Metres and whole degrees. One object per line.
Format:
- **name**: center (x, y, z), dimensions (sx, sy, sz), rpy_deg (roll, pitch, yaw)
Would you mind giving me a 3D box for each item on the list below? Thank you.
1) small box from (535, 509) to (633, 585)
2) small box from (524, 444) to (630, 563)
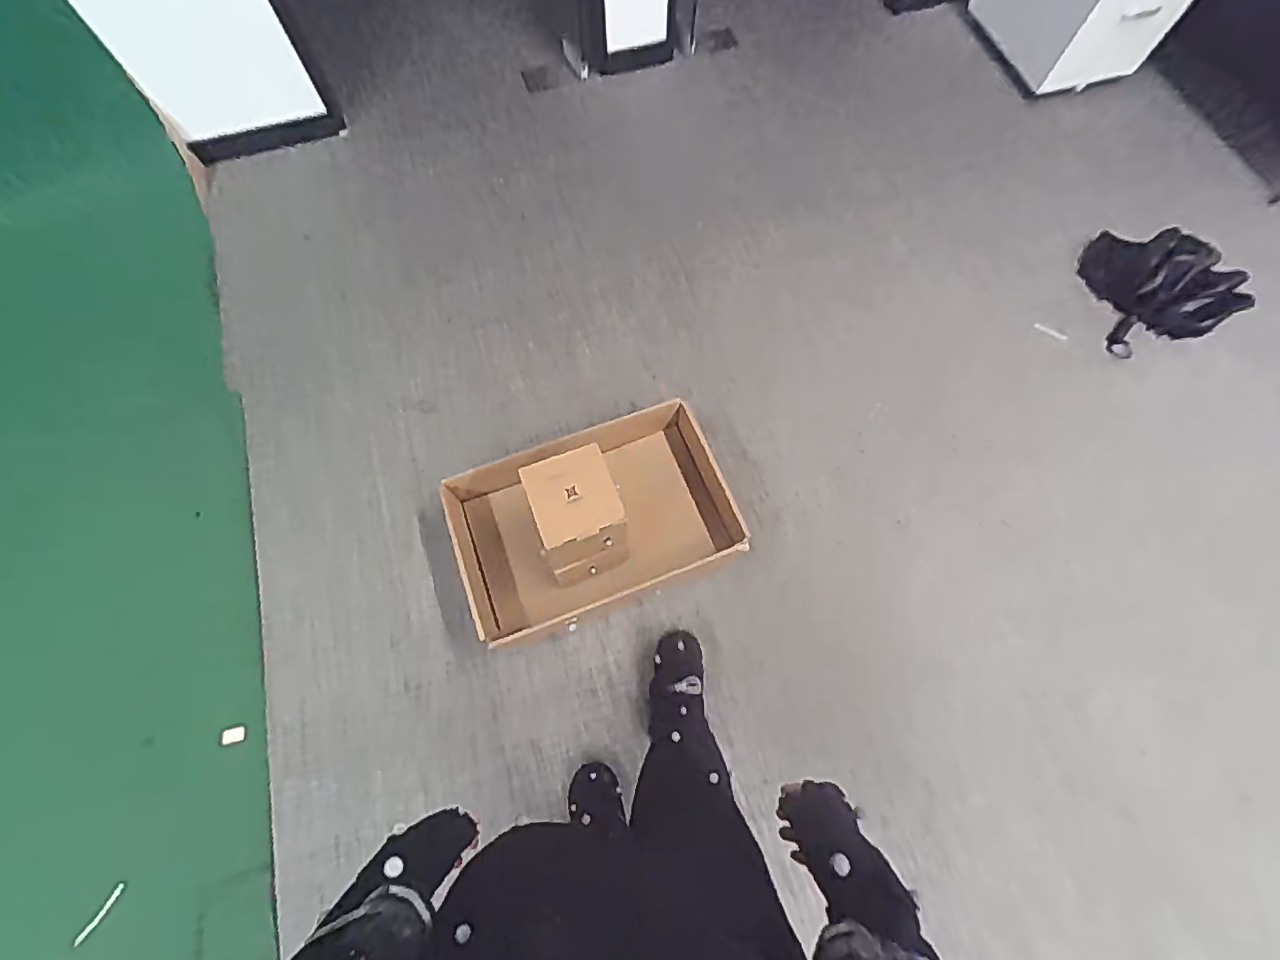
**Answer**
- **small box**: center (-0.124, 0.126, 1.253), dimensions (0.179, 0.176, 0.168), rpy_deg (-22, 70, -7)
- **small box**: center (-0.123, 0.058, 1.107), dimensions (0.168, 0.176, 0.179), rpy_deg (-19, 68, -10)
